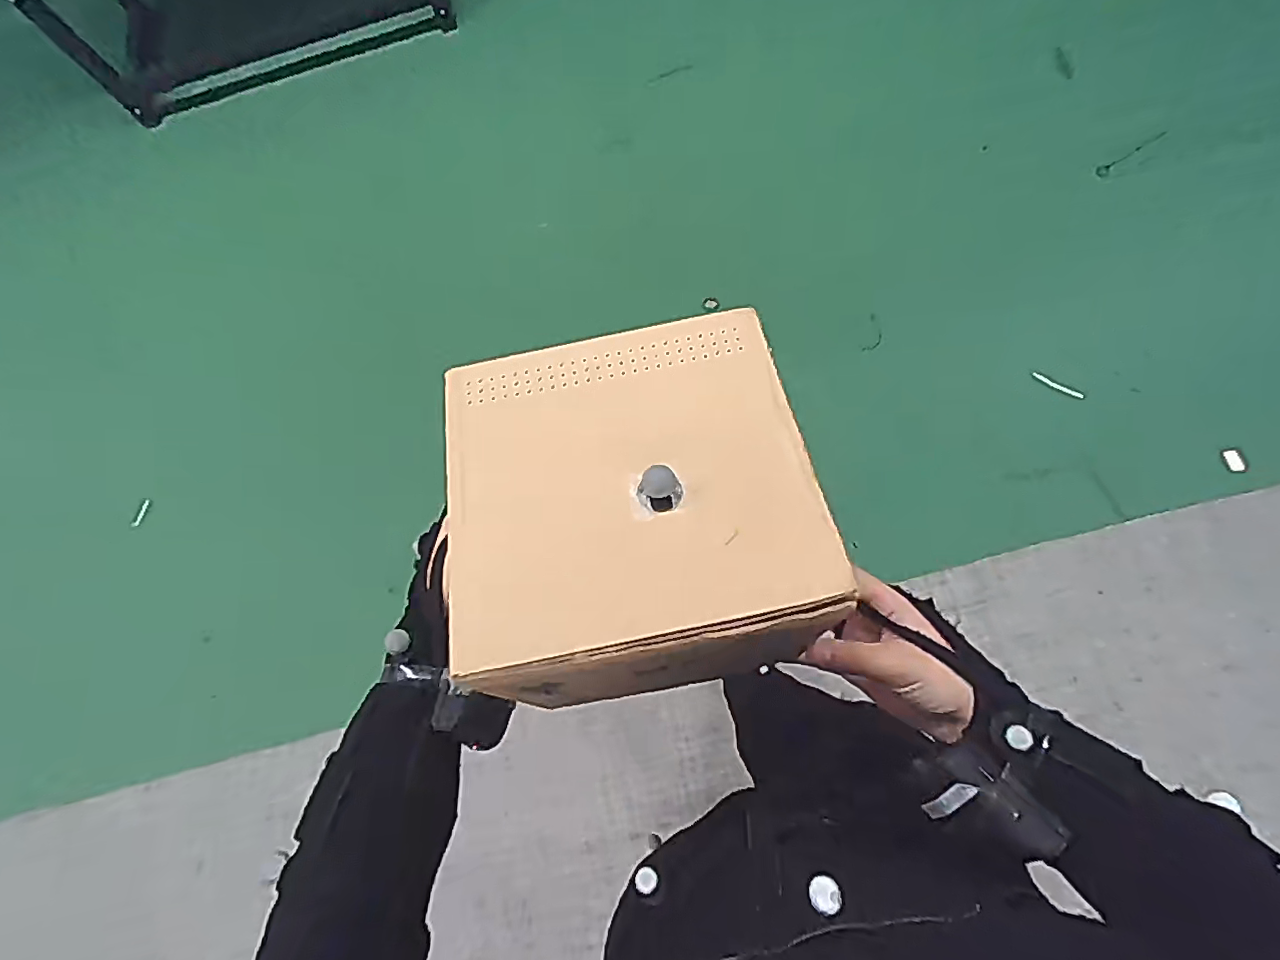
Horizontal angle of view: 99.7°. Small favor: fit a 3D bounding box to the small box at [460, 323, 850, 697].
[{"bbox_3d":[0.000,0.025,0.342,0.179,0.168,0.176,-12,62,0],"label":"small box"}]
